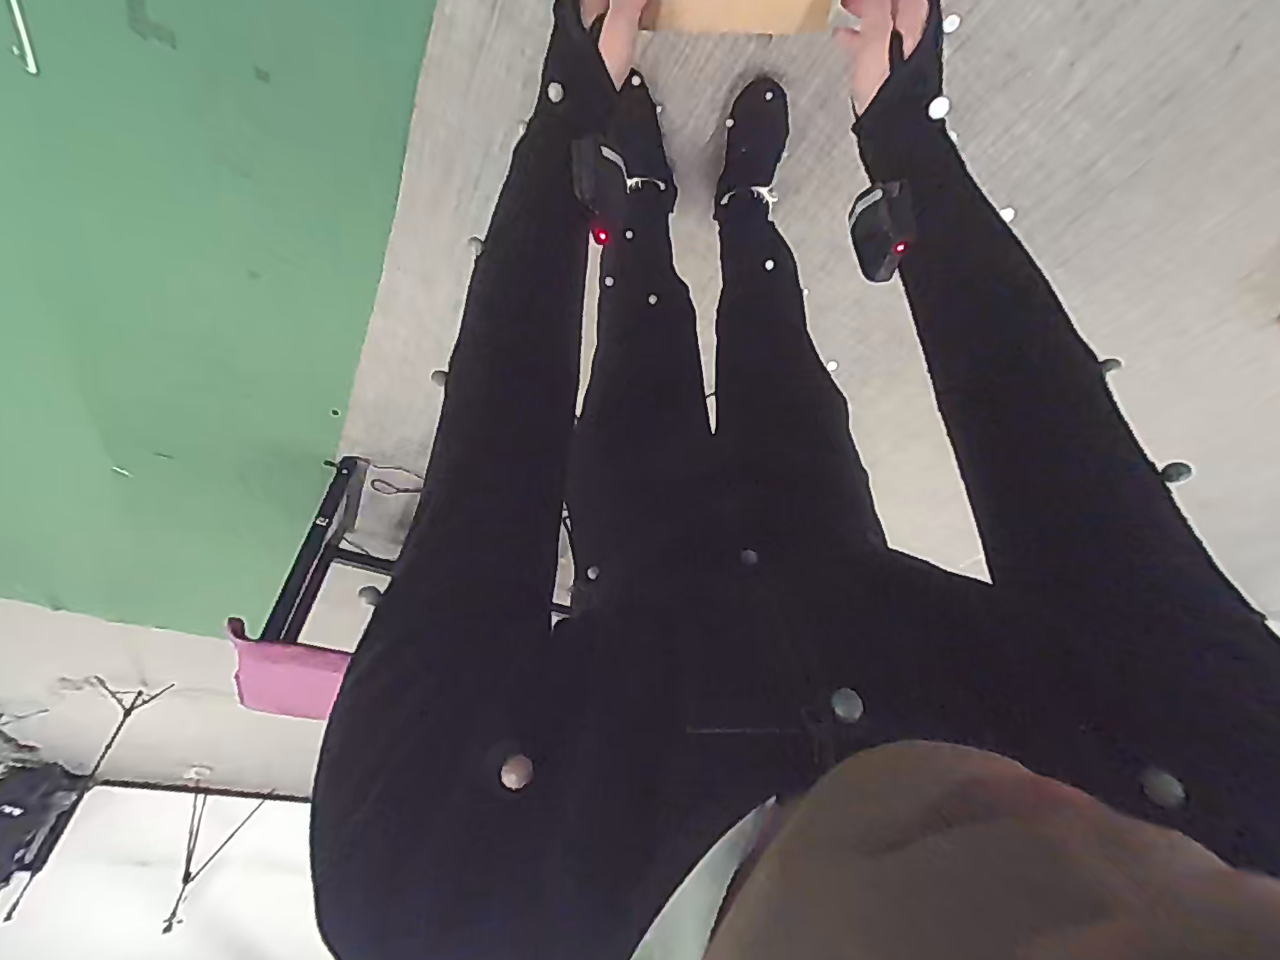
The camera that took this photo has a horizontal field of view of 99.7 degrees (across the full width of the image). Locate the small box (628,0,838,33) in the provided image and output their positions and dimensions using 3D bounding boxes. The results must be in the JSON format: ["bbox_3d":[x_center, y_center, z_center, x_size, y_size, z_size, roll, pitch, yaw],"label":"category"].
[{"bbox_3d":[0.079,-0.498,0.446,0.179,0.176,0.168,2,142,0],"label":"small box"}]

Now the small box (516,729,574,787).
[{"bbox_3d":[-0.354,1.068,2.075,0.179,0.176,0.168,21,138,-22],"label":"small box"}]
